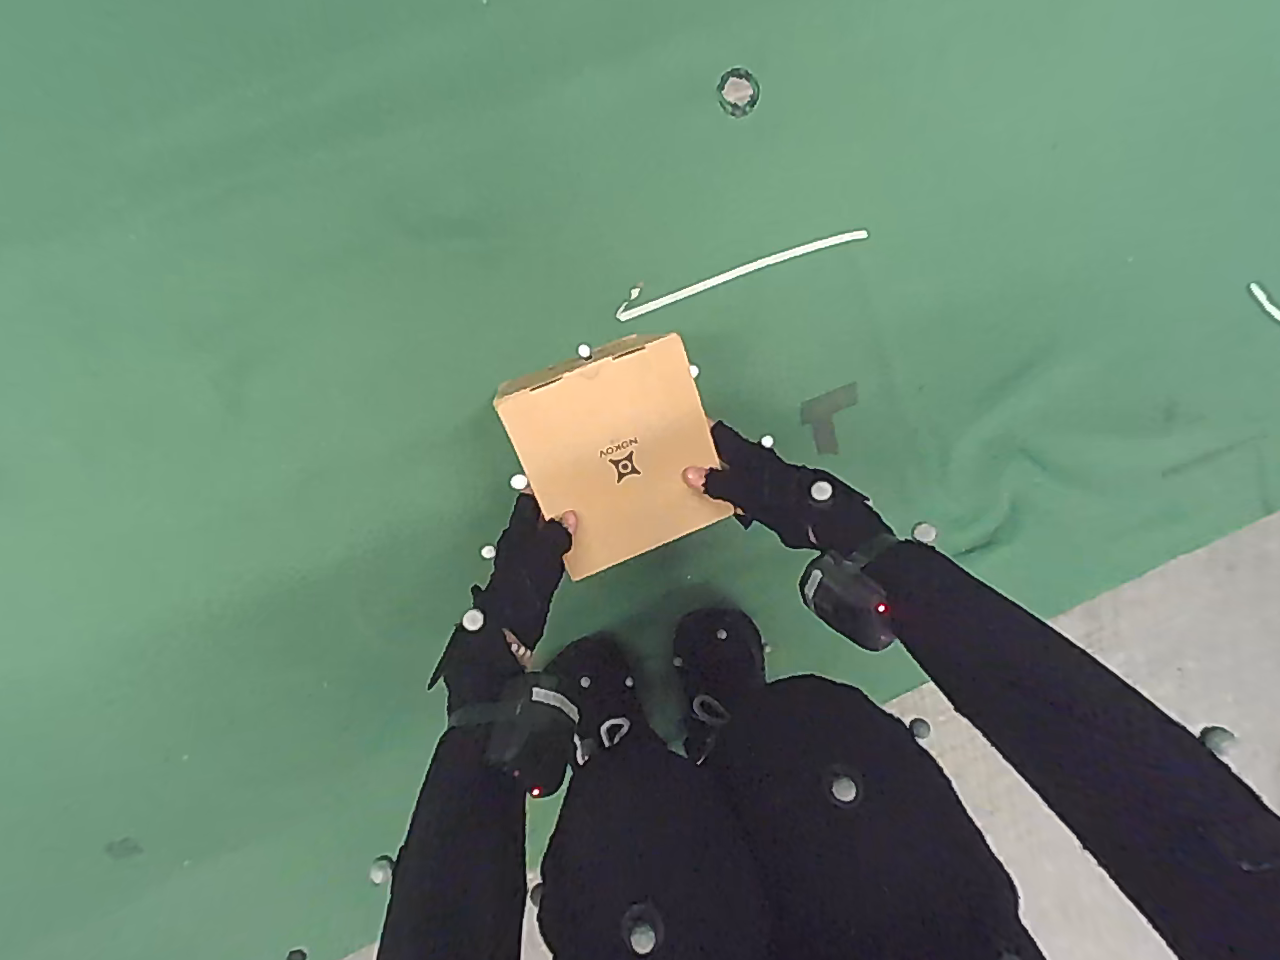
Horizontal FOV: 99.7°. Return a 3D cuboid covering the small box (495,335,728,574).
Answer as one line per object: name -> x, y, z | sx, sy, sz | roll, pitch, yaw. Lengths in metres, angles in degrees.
small box -> -0.033, -0.037, 0.551 | 0.168, 0.176, 0.179 | -22, 106, -7
